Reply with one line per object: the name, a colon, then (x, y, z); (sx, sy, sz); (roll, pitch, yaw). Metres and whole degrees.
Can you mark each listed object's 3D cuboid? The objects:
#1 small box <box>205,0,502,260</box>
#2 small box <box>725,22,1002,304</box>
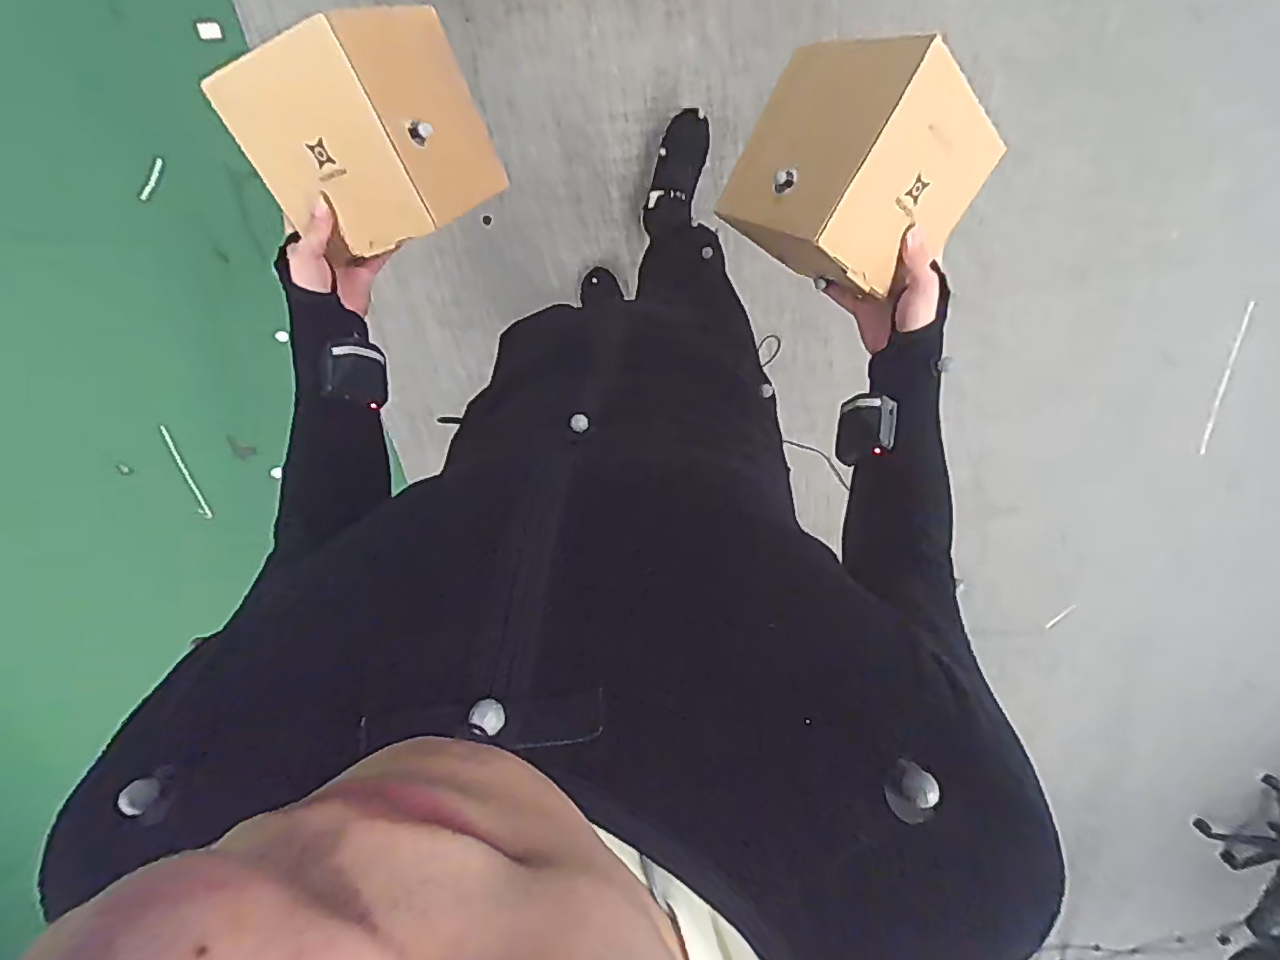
small box: (-0.277, -0.362, 0.567); (0.168, 0.176, 0.179); (-5, 130, 23)
small box: (0.214, -0.316, 0.558); (0.168, 0.176, 0.179); (14, 113, -39)
